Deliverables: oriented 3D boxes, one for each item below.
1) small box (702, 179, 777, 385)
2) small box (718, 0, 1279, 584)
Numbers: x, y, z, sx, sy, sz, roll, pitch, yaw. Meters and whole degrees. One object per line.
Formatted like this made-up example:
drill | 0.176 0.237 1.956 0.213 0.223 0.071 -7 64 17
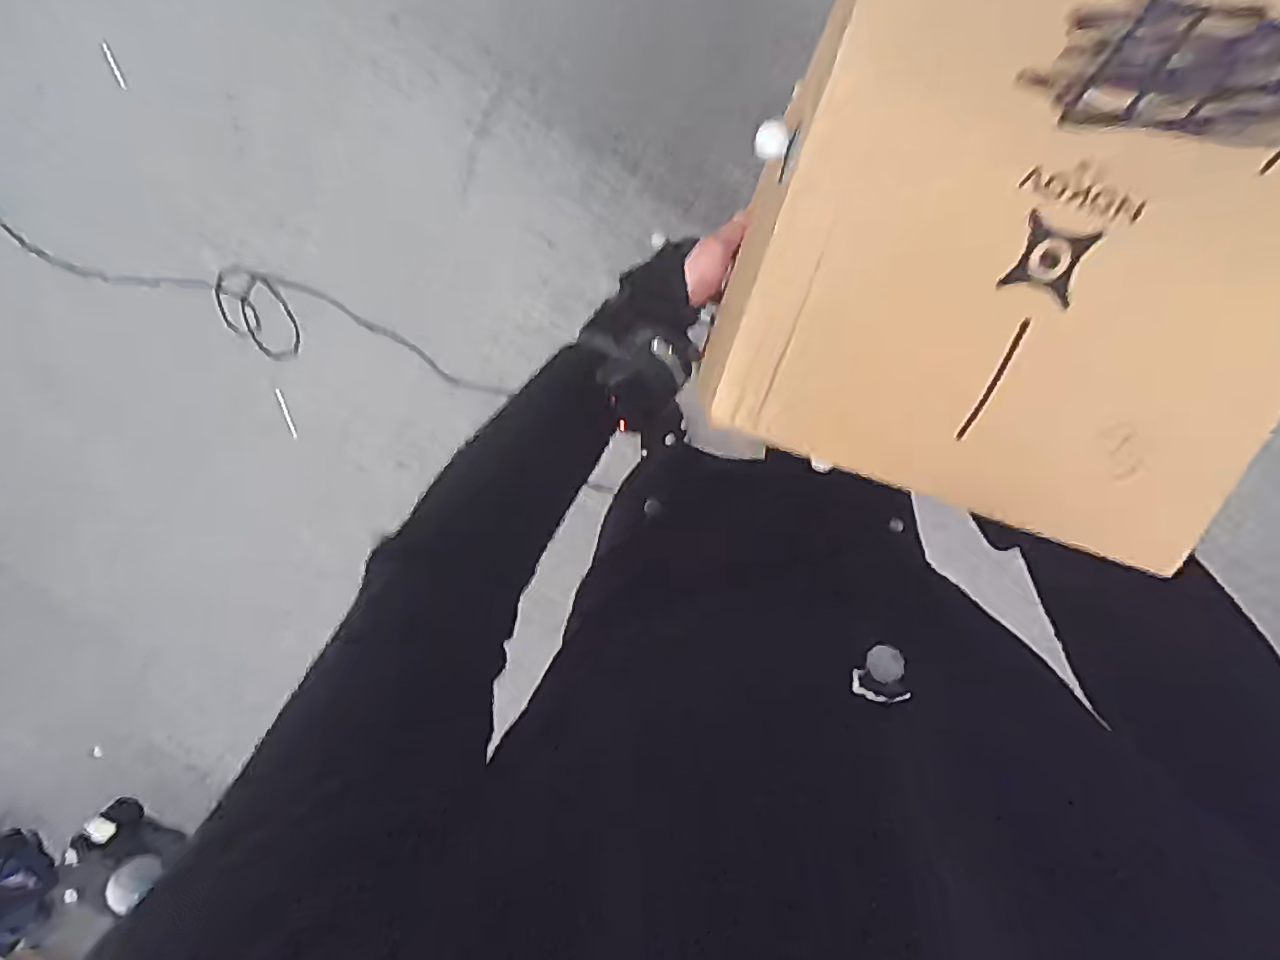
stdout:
small box | 0.169 -0.166 0.547 0.168 0.176 0.179 18 105 2
small box | 0.136 -0.089 0.232 0.168 0.176 0.179 18 105 2
